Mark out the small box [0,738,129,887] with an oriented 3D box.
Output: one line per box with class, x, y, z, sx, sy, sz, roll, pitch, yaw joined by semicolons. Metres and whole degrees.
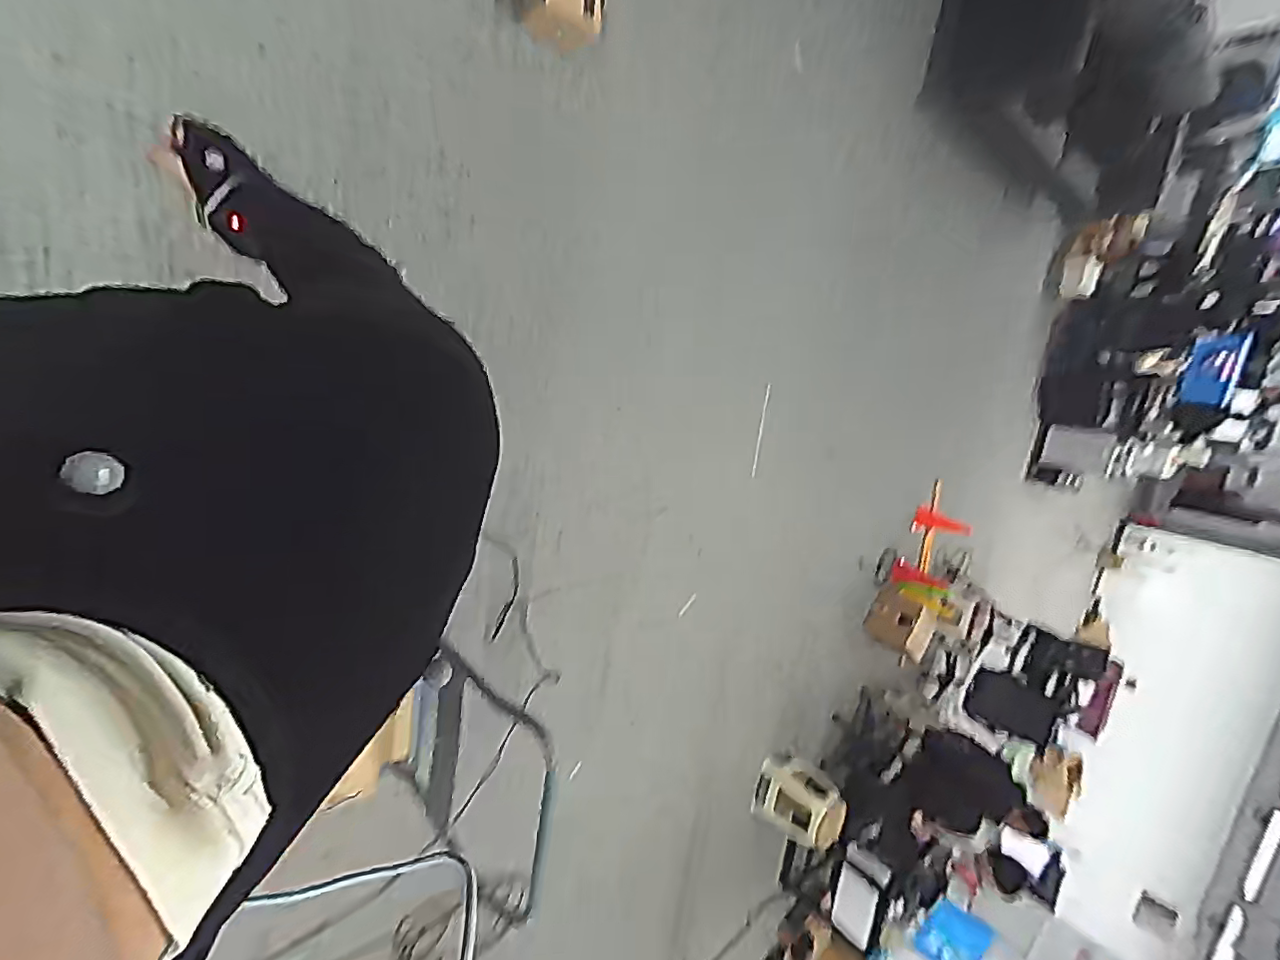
small box;-1.168;0.662;1.104;0.179;0.176;0.168;2;102;-42
